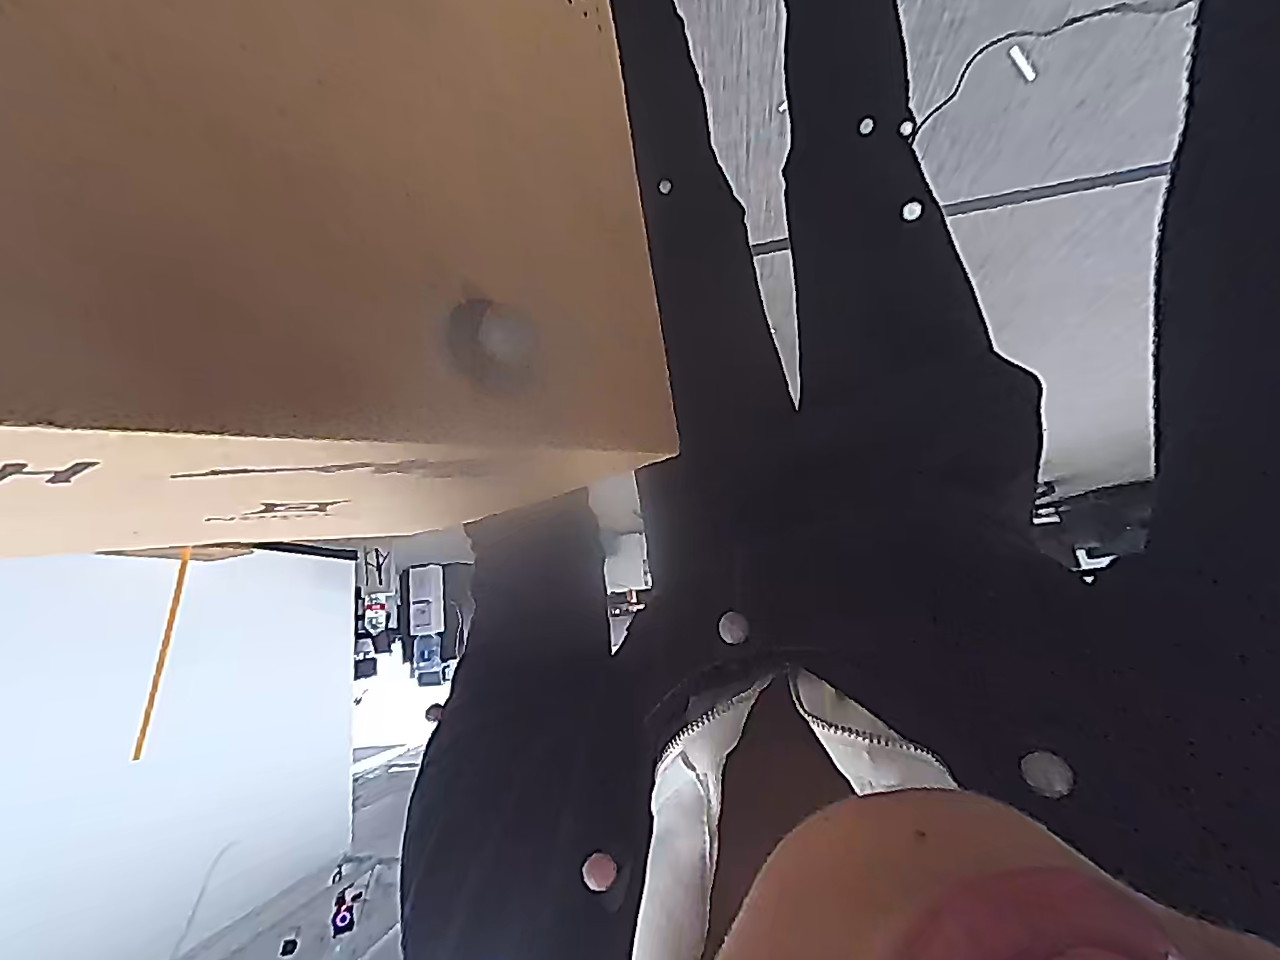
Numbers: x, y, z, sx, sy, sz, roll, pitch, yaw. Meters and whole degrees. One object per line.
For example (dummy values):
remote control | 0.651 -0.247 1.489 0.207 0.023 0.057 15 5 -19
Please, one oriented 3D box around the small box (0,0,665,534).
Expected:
small box | -0.115 -0.079 0.172 0.179 0.176 0.168 -14 171 41
